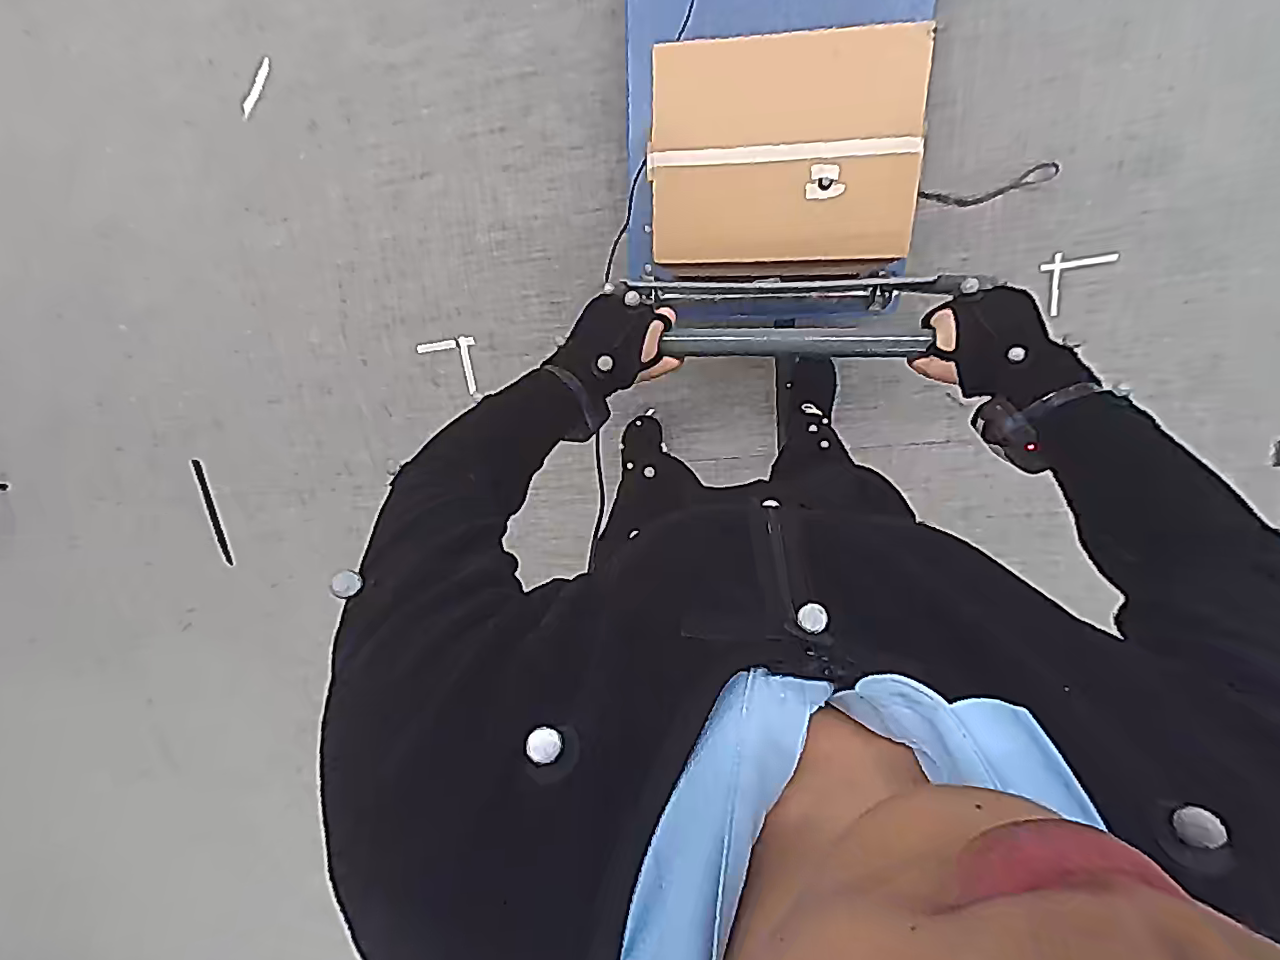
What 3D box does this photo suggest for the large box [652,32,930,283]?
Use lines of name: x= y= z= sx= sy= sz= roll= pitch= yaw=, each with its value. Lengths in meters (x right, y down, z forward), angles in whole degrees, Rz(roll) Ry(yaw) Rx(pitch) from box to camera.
large box: x=0.237 y=-0.534 z=0.975 sx=0.408 sy=0.320 sz=0.320 roll=2 pitch=108 yaw=8
